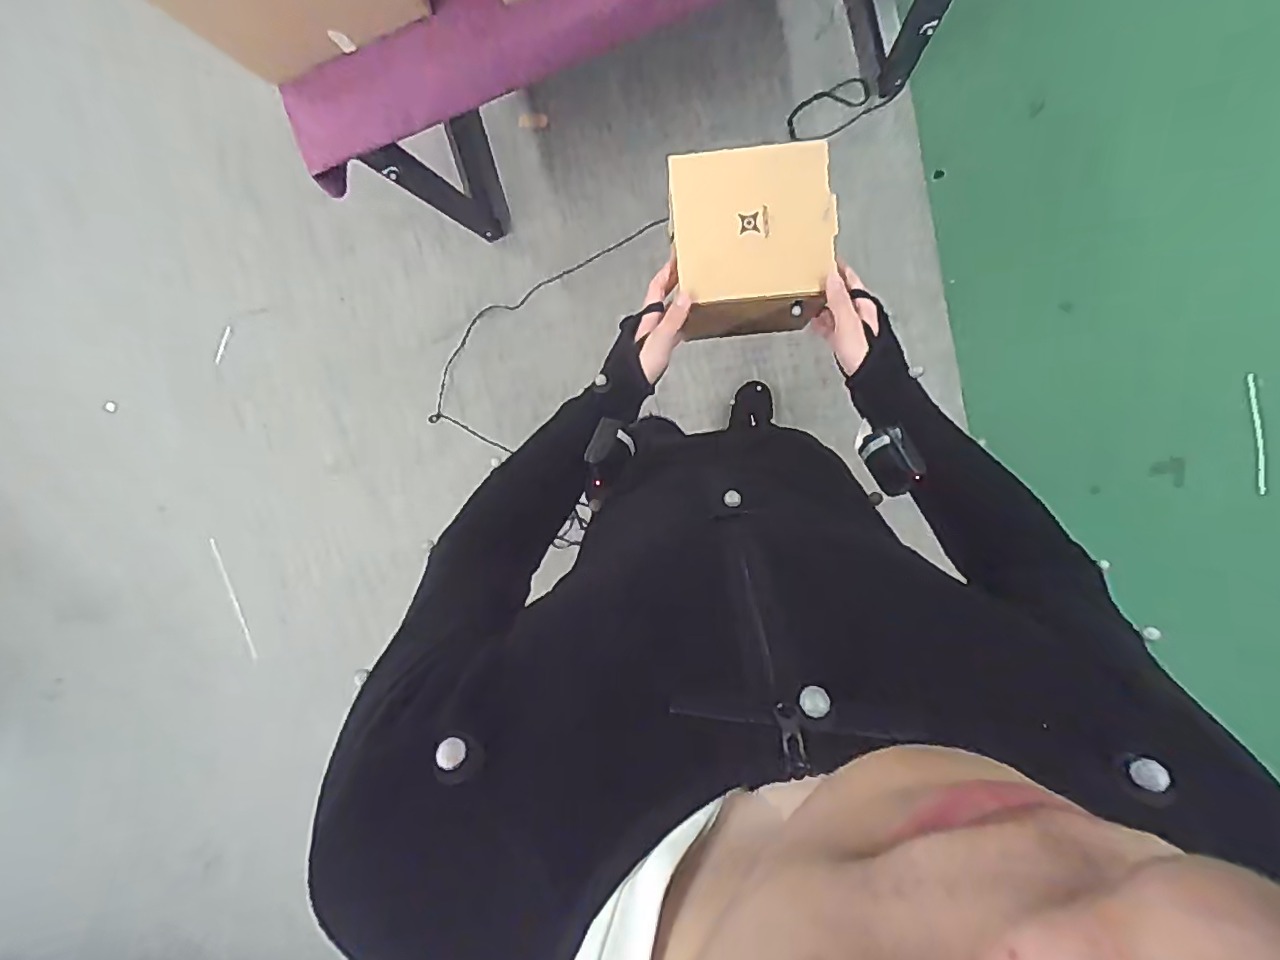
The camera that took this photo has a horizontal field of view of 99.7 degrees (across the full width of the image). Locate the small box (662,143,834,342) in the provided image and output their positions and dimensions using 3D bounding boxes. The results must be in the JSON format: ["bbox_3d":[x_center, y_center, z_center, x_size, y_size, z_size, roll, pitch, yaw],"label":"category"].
[{"bbox_3d":[0.120,-0.276,0.666,0.179,0.176,0.168,-5,90,2],"label":"small box"}]
